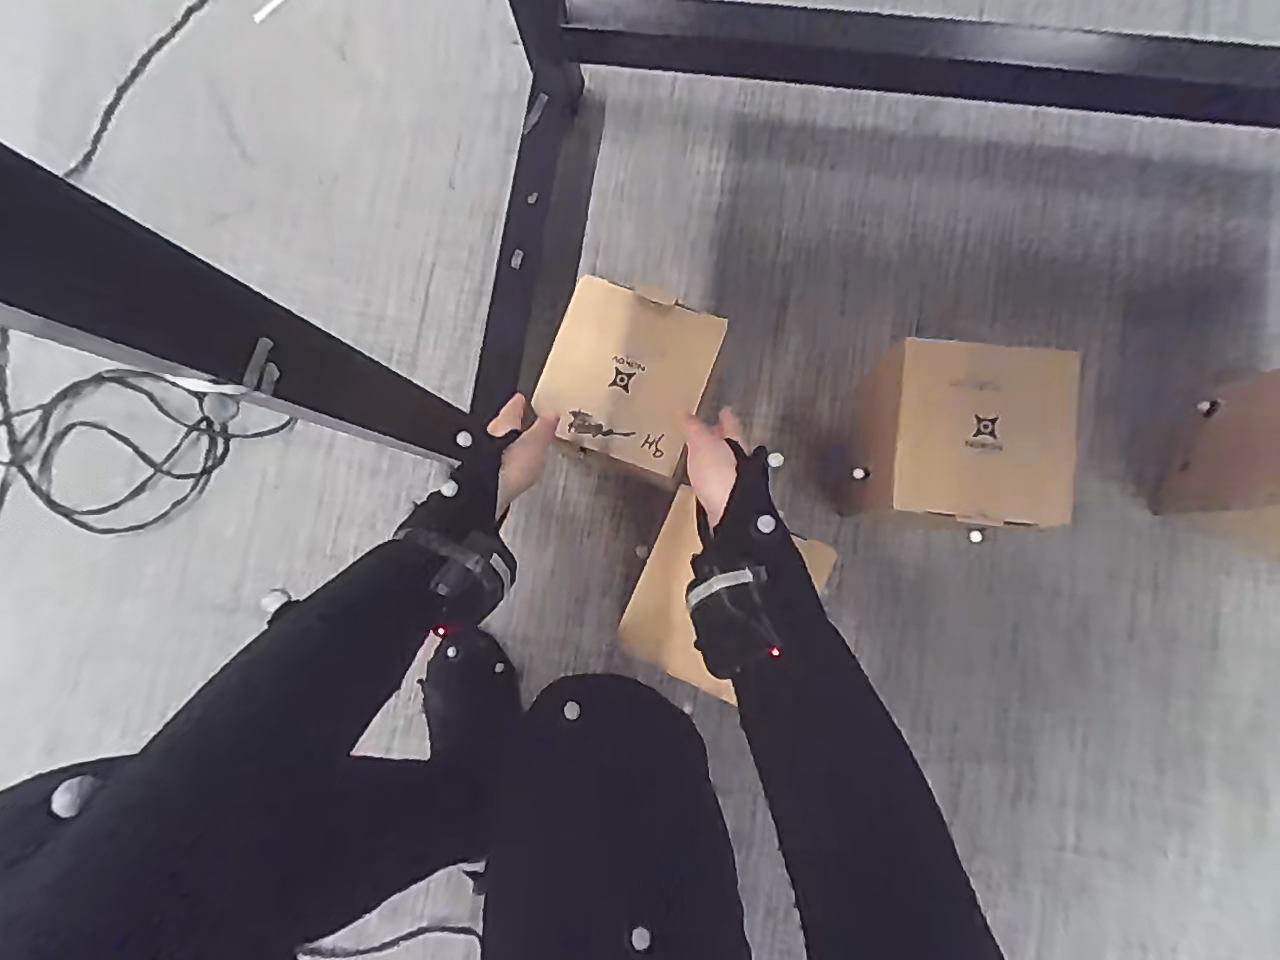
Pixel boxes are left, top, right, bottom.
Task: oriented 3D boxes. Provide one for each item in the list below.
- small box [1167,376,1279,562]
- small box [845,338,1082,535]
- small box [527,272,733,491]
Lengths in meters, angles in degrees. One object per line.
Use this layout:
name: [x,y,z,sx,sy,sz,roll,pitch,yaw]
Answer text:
small box: [0.721,-0.007,0.560,0.179,0.176,0.168,22,86,5]
small box: [0.336,-0.036,0.594,0.168,0.176,0.179,7,83,5]
small box: [-0.006,-0.100,0.628,0.168,0.176,0.179,21,85,7]
